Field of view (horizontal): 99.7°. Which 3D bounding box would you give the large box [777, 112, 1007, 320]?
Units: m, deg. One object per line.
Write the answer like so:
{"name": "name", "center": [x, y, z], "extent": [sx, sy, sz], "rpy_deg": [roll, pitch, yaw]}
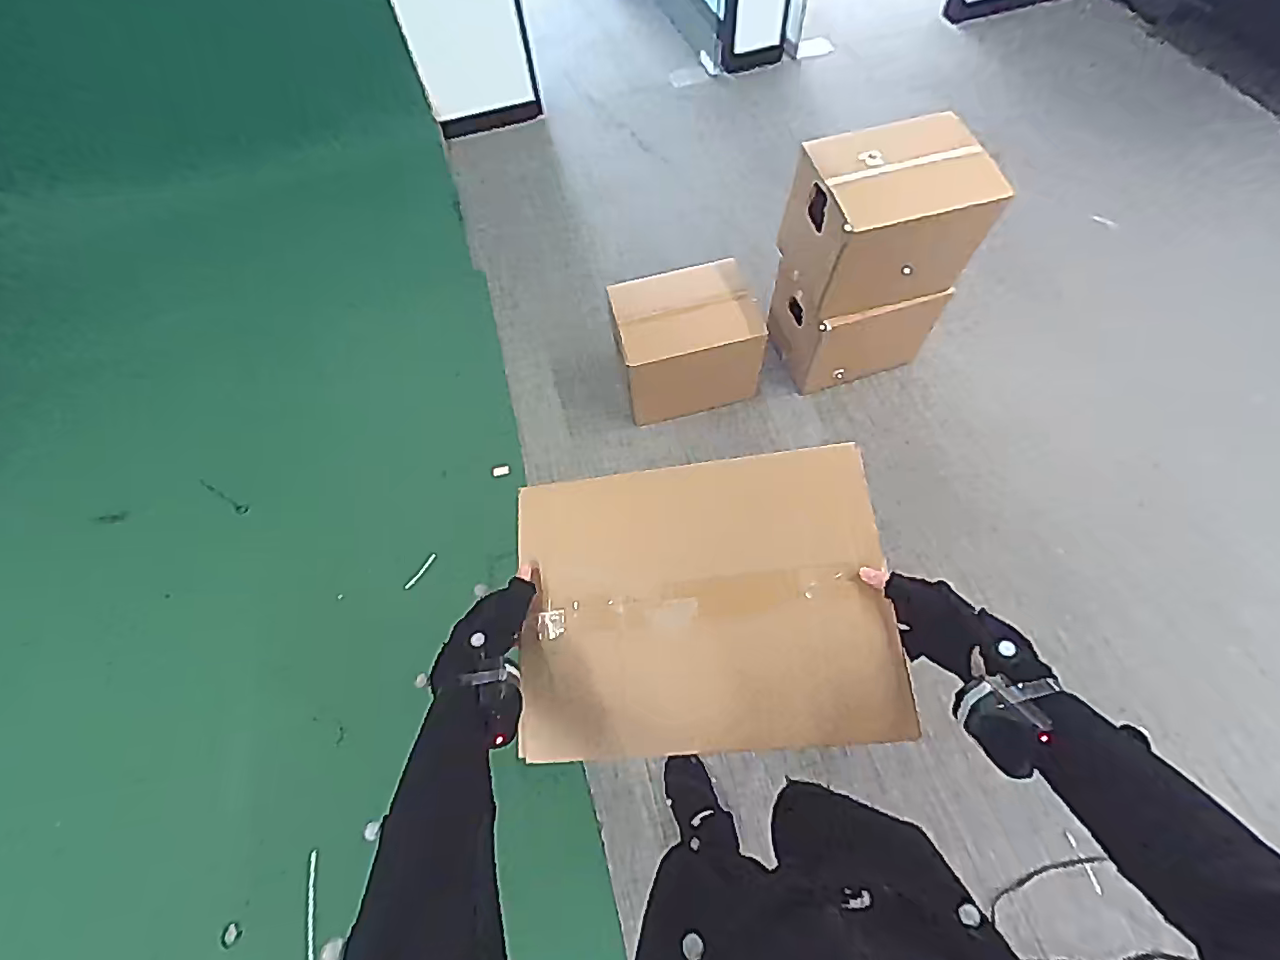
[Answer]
{"name": "large box", "center": [0.626, -0.679, 1.424], "extent": [0.408, 0.320, 0.320], "rpy_deg": [-15, 67, -3]}
